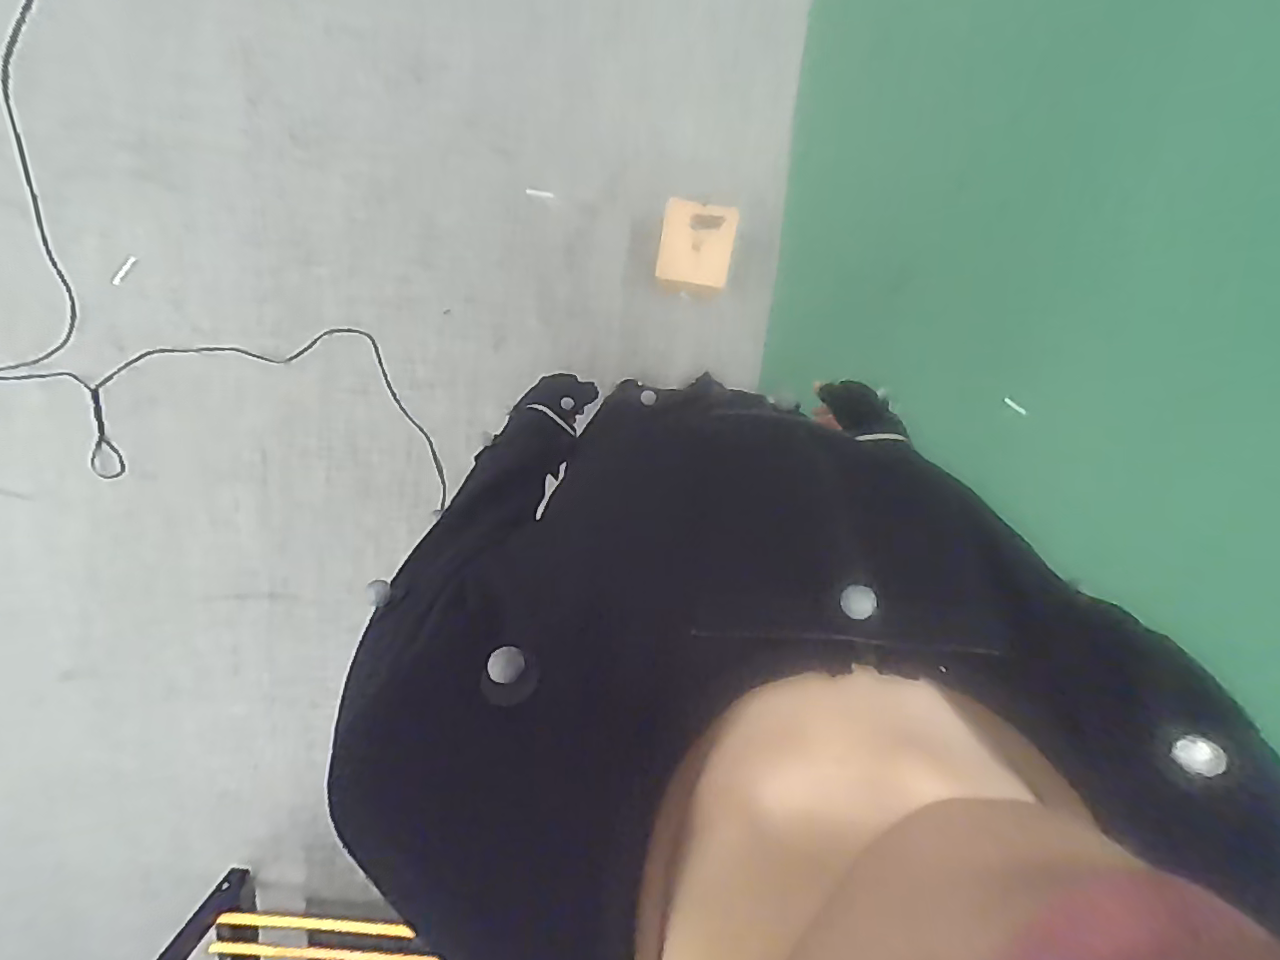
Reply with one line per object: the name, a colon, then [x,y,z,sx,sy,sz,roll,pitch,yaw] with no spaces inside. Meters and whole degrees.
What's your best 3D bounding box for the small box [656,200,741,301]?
small box: [0.132,-0.542,1.296,0.168,0.176,0.179,9,102,-1]
